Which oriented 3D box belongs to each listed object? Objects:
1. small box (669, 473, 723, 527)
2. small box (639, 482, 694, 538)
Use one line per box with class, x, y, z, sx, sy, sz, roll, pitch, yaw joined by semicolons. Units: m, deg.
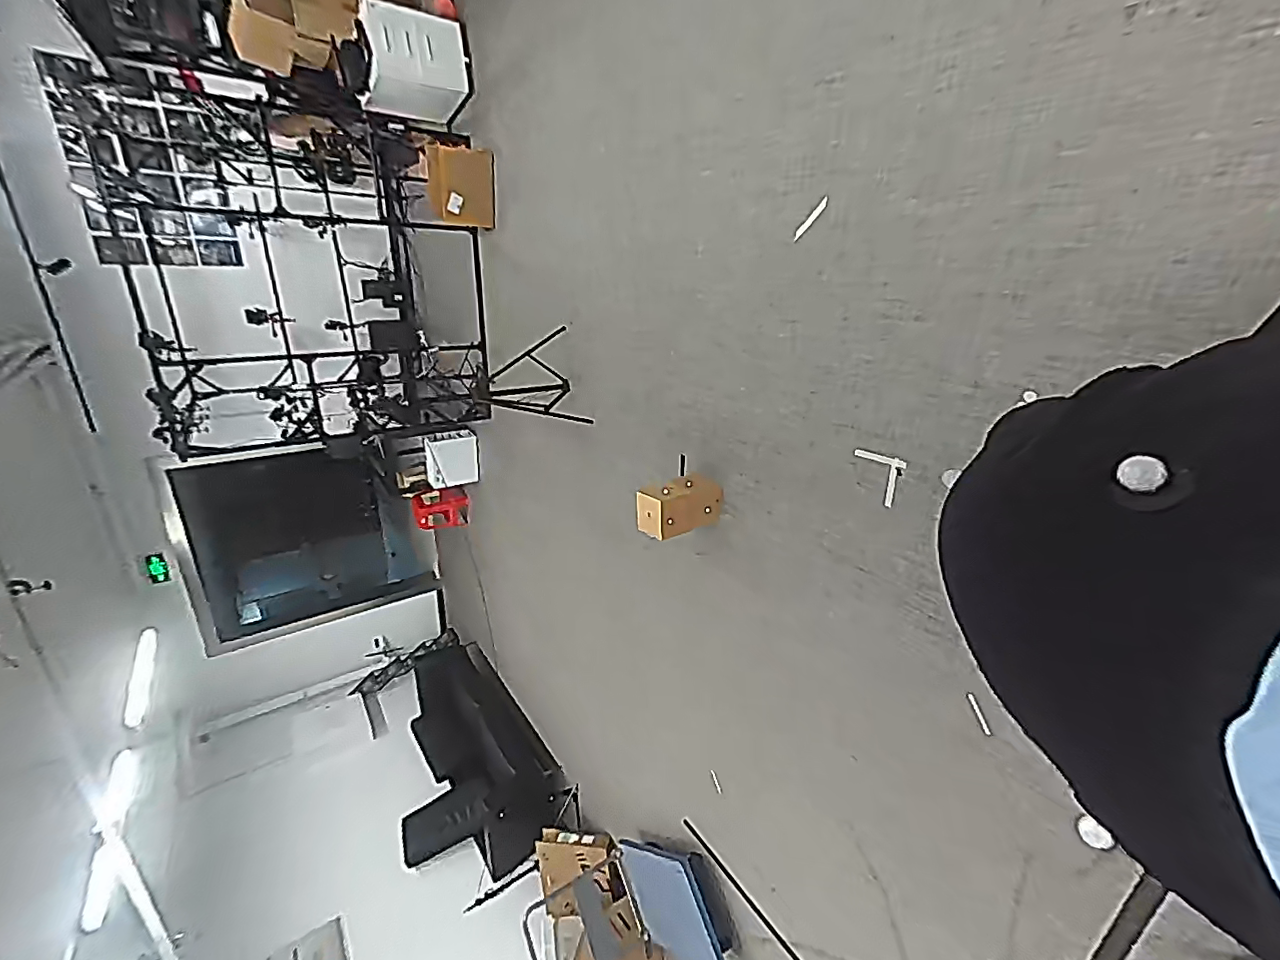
small box;0.239;0.078;2.344;0.179;0.176;0.168;33;127;48
small box;0.112;0.119;2.251;0.168;0.176;0.179;21;119;52
